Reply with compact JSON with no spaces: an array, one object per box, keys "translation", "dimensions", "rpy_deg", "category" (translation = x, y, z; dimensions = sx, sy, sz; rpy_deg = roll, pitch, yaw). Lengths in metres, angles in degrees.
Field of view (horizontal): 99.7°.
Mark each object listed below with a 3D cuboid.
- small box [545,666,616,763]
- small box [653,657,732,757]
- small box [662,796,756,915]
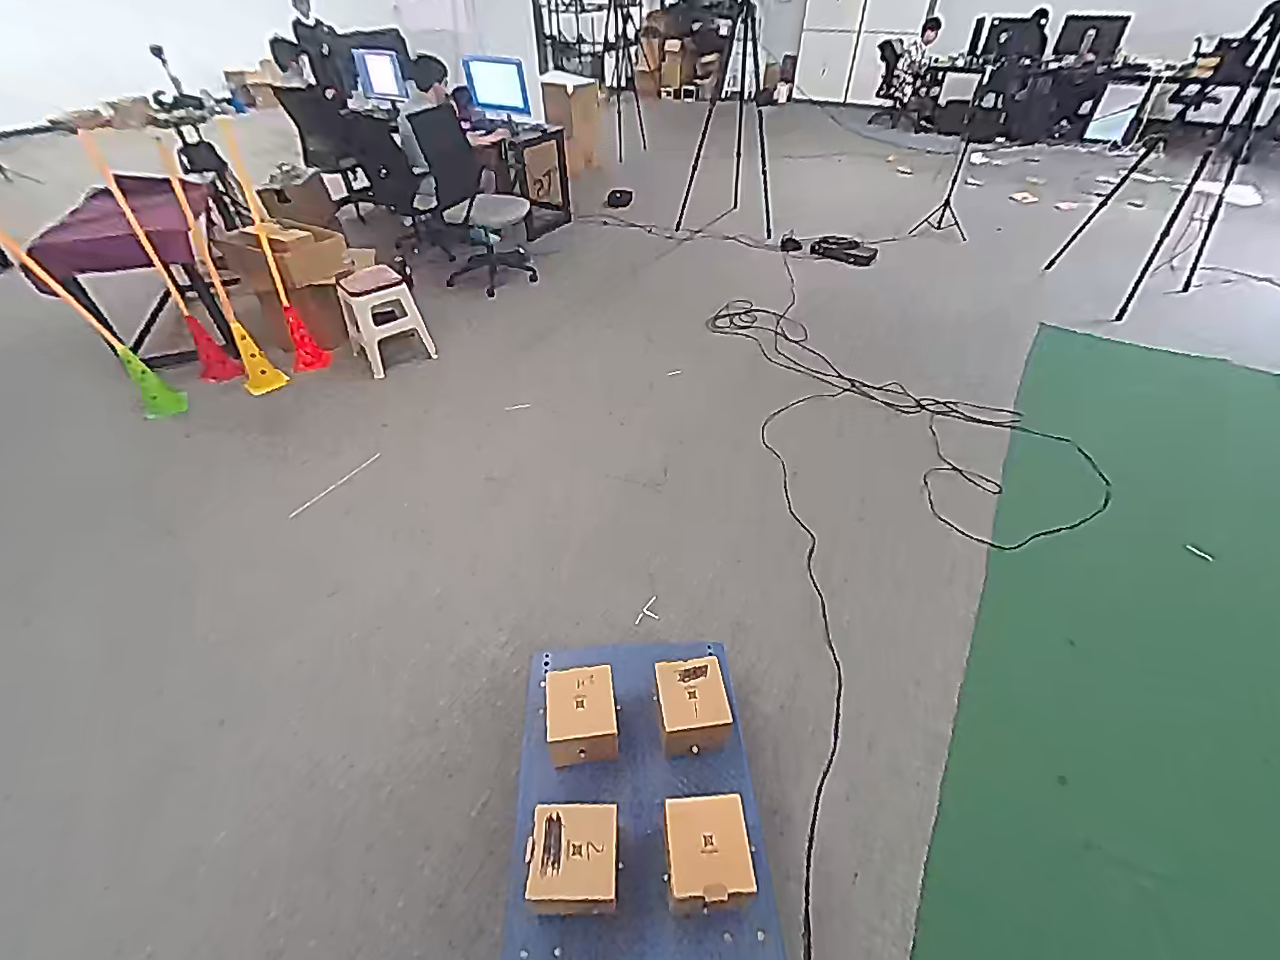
[{"translation":[-0.149,0.597,1.367],"dimensions":[0.168,0.176,0.179],"rpy_deg":[-4,44,-6],"category":"small box"},{"translation":[0.126,0.582,1.386],"dimensions":[0.168,0.176,0.179],"rpy_deg":[-5,45,-5],"category":"small box"},{"translation":[0.137,0.803,1.158],"dimensions":[0.168,0.176,0.179],"rpy_deg":[-2,44,-3],"category":"small box"}]
